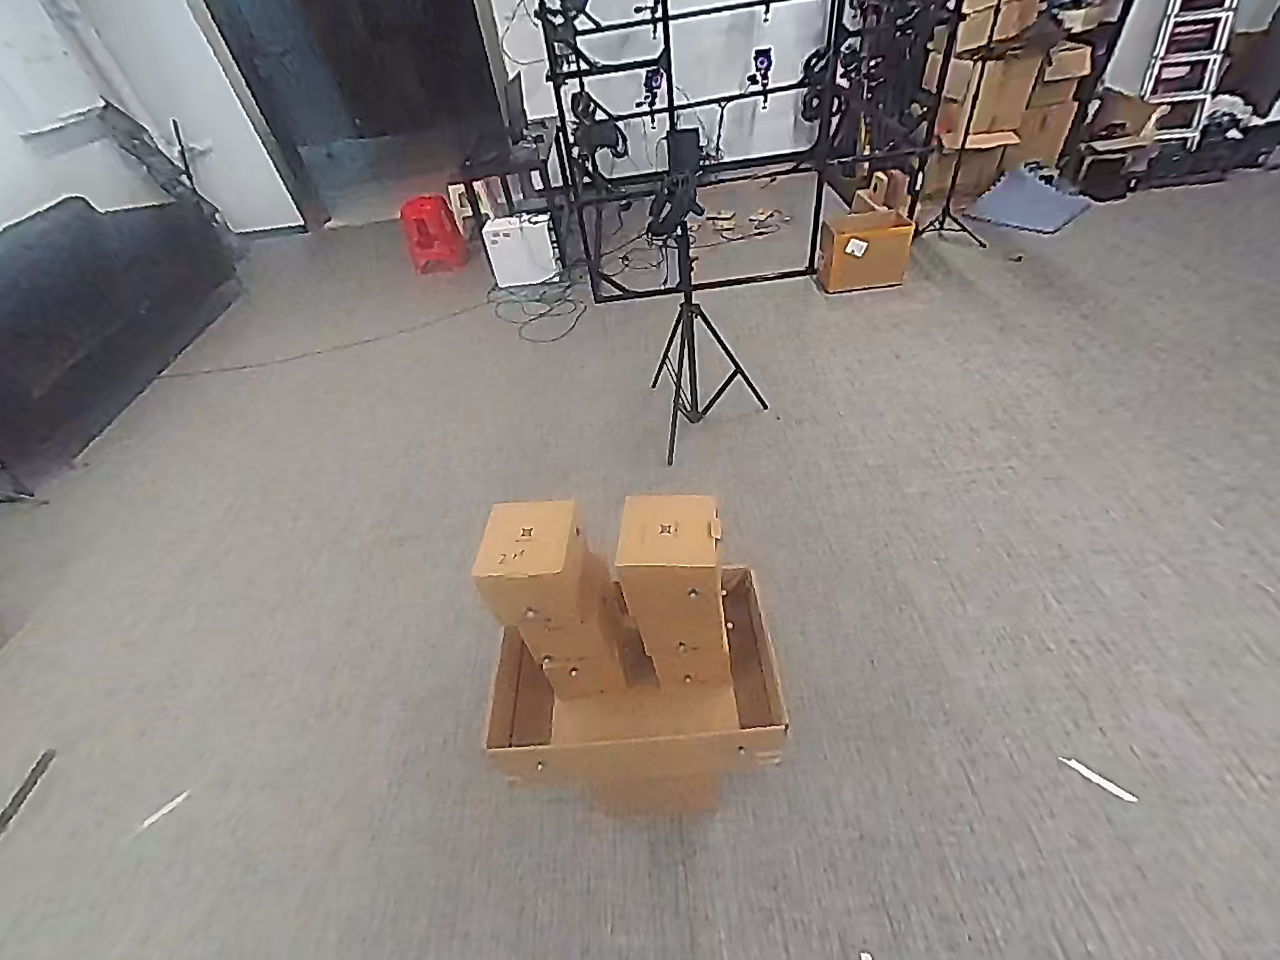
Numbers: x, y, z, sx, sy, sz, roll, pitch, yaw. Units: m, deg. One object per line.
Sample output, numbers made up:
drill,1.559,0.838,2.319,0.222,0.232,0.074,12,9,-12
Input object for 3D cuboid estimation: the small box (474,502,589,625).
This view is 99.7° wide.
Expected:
small box,-0.198,0.162,1.050,0.168,0.176,0.179,-3,45,6

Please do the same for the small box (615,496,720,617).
small box,0.062,0.147,1.025,0.179,0.176,0.168,-1,46,10
